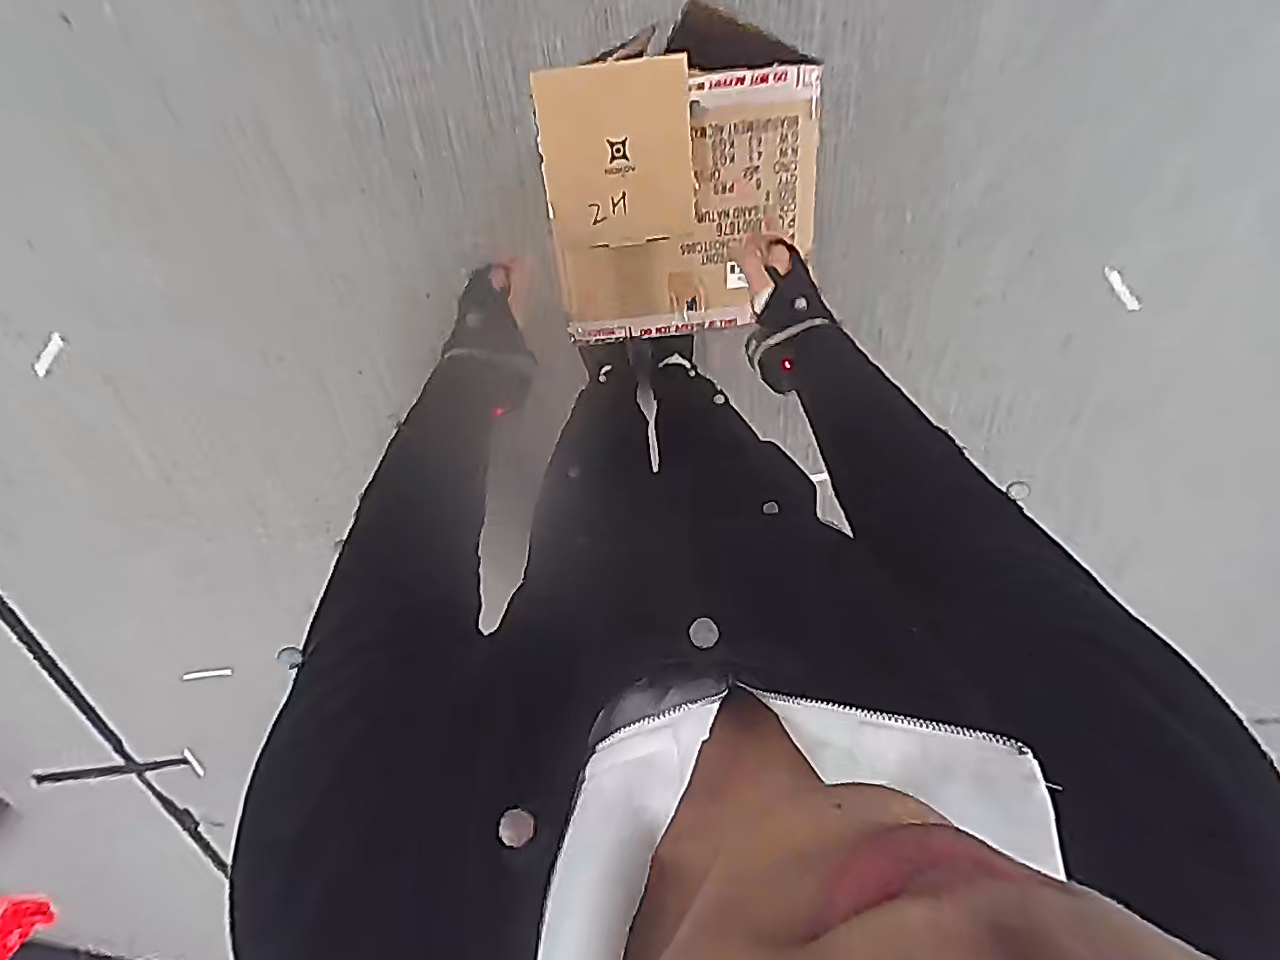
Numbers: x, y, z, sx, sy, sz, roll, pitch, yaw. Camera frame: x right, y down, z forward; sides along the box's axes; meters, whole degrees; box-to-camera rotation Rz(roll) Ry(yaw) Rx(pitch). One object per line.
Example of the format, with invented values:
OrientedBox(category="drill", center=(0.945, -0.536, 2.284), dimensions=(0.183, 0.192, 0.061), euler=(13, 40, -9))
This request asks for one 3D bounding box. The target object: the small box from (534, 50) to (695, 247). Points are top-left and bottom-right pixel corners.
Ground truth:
OrientedBox(category="small box", center=(-0.028, -0.398, 0.667), dimensions=(0.168, 0.176, 0.179), euler=(-7, 121, 0))
